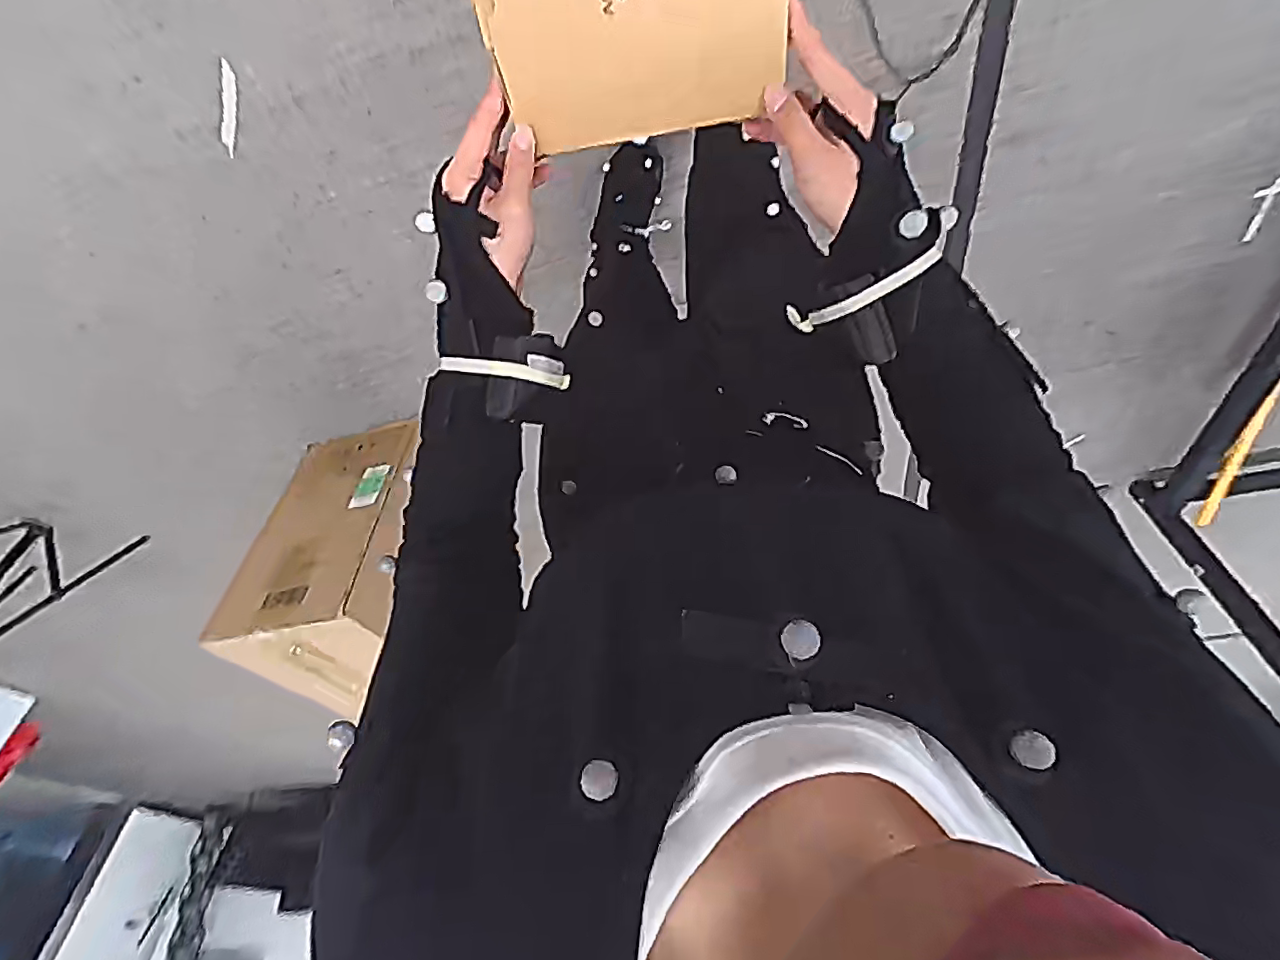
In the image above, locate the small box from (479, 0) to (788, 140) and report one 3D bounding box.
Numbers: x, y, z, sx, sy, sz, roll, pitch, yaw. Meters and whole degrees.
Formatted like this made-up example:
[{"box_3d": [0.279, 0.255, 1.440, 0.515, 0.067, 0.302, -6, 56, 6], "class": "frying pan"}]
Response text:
[{"box_3d": [-0.008, -0.350, 0.339, 0.179, 0.176, 0.168, -6, 142, 8], "class": "small box"}]
